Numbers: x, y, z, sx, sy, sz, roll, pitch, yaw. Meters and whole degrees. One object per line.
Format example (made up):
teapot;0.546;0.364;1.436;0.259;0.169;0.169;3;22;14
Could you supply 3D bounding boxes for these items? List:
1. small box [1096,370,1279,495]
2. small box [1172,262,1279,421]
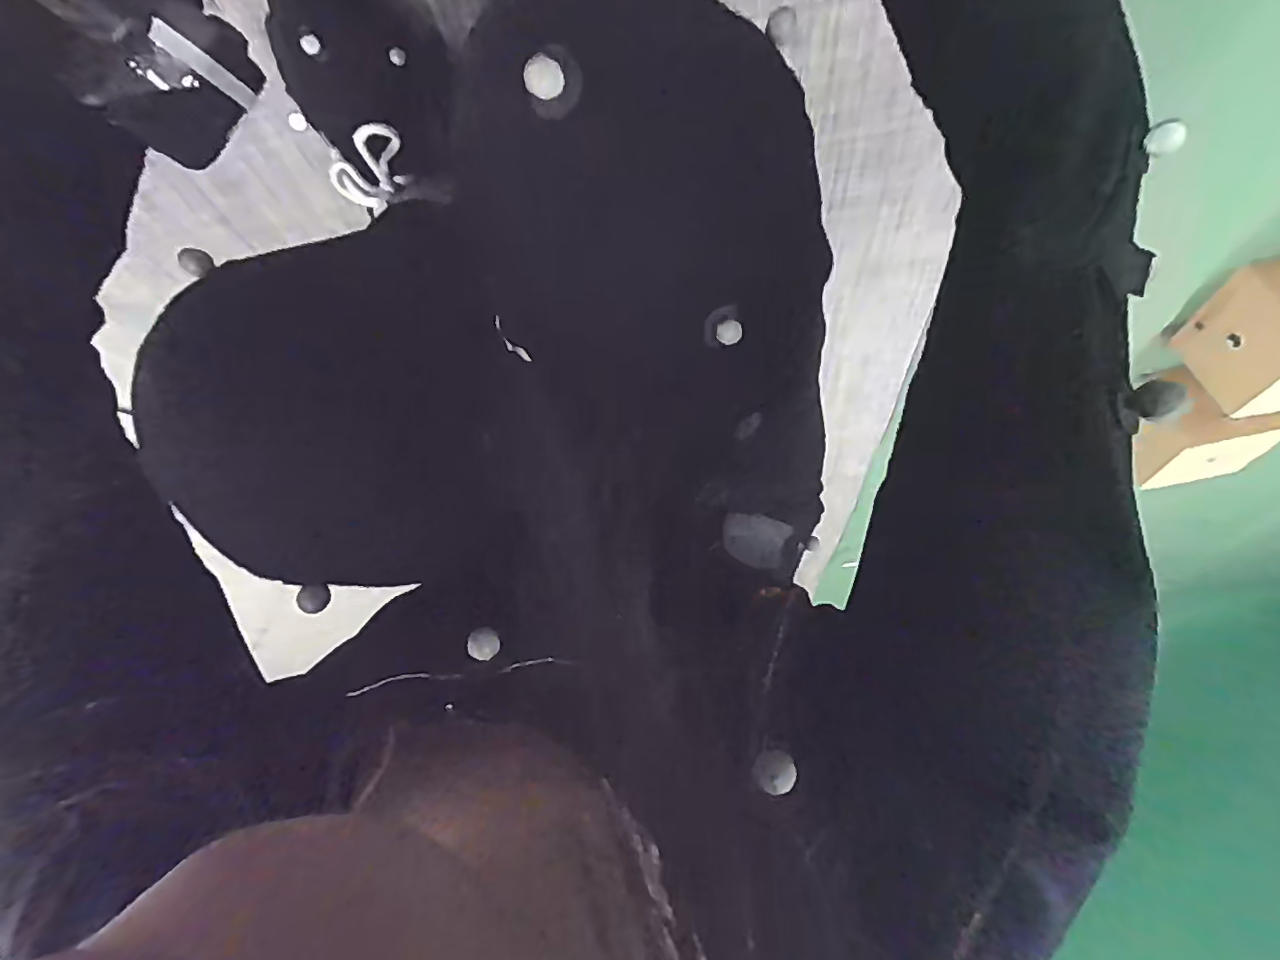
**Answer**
small box;1.035;-0.099;1.025;0.179;0.176;0.168;-14;148;8
small box;0.983;-0.219;0.814;0.179;0.176;0.168;-12;149;5
